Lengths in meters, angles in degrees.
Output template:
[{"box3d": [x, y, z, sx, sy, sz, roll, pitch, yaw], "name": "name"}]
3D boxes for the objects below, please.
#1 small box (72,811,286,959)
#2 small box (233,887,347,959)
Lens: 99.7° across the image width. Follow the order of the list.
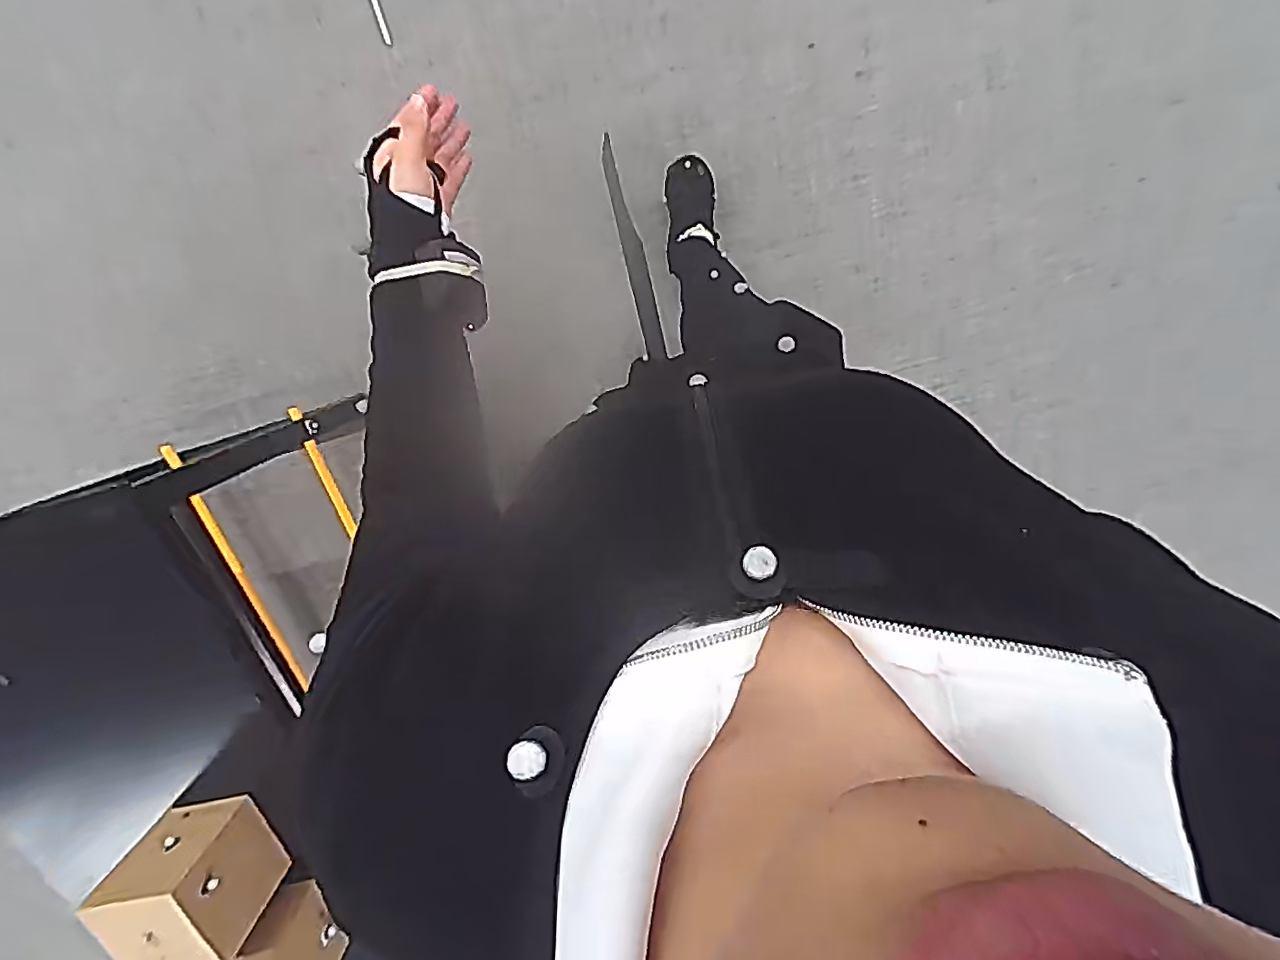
[{"box3d": [-0.743, 0.680, 0.895, 0.168, 0.176, 0.179, -13, 109, 6], "name": "small box"}, {"box3d": [-0.672, 0.876, 0.967, 0.179, 0.176, 0.168, -15, 110, 5], "name": "small box"}]
